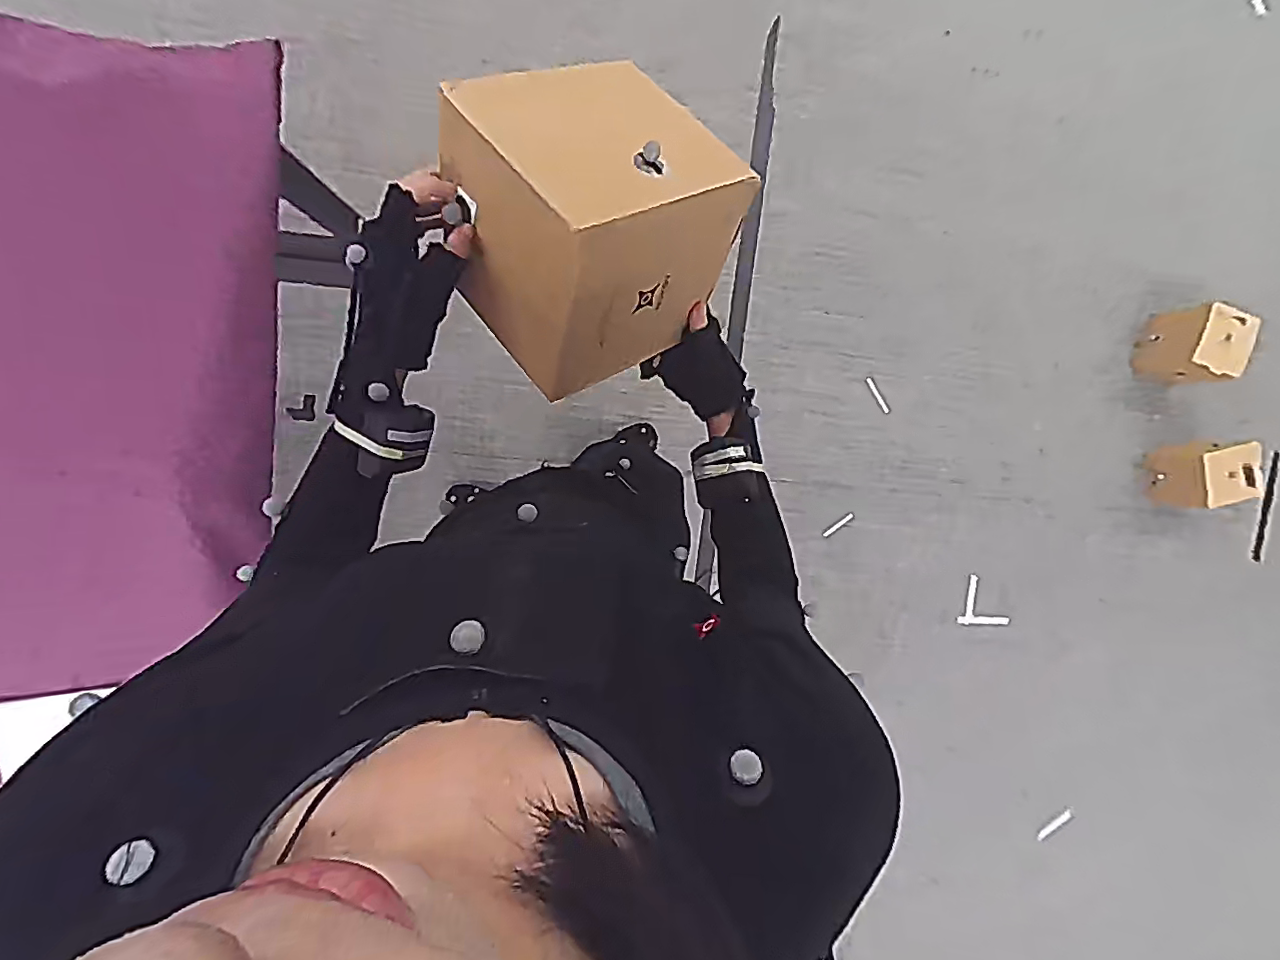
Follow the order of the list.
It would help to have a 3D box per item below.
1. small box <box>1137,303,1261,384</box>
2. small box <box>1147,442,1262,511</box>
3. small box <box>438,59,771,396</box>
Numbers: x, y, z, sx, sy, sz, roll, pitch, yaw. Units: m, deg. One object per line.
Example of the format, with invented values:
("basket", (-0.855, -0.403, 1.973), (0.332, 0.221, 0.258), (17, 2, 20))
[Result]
("small box", (1.618, -0.389, 1.579), (0.168, 0.176, 0.179), (18, 94, -8))
("small box", (1.688, -0.017, 1.623), (0.179, 0.176, 0.168), (-14, 97, -4))
("small box", (-0.036, -0.206, 0.437), (0.179, 0.168, 0.176), (-31, 70, -29))
